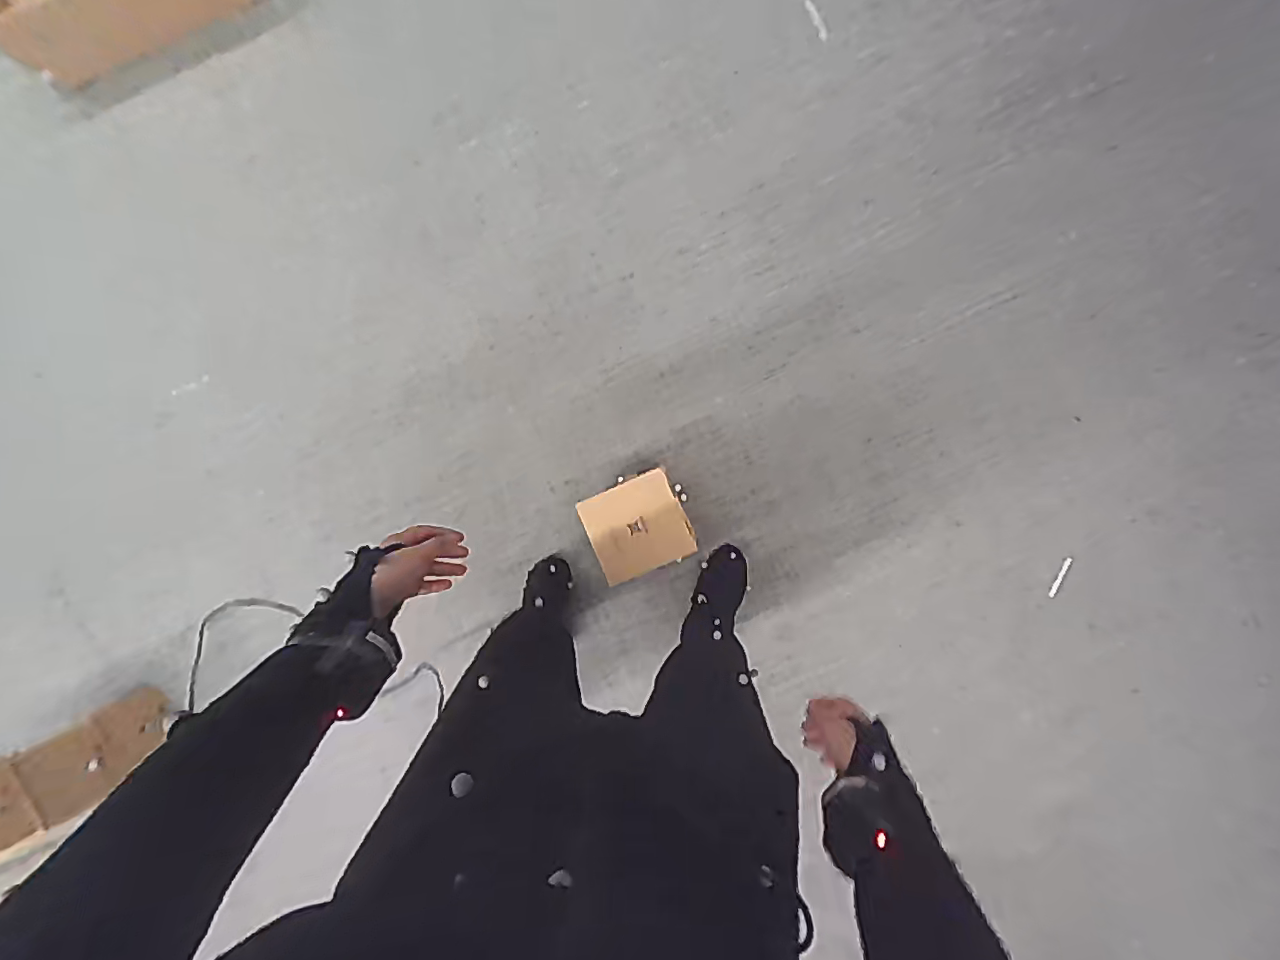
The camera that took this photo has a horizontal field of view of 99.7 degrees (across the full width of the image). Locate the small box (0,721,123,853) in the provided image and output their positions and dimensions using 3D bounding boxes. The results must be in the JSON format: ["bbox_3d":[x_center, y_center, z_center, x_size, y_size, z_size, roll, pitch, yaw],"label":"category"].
[{"bbox_3d":[-1.253,0.641,1.121,0.179,0.176,0.168,-29,89,2],"label":"small box"}]

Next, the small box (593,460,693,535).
[{"bbox_3d":[0.008,0.070,1.219,0.168,0.176,0.179,-24,88,3],"label":"small box"}]

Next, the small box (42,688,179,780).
[{"bbox_3d":[-1.256,0.628,1.285,0.179,0.176,0.168,-33,88,3],"label":"small box"}]

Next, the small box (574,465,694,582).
[{"bbox_3d":[-0.007,0.079,1.057,0.179,0.176,0.168,-24,87,4],"label":"small box"}]

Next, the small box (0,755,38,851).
[{"bbox_3d":[-1.260,0.634,0.959,0.179,0.176,0.168,-30,88,2],"label":"small box"}]
